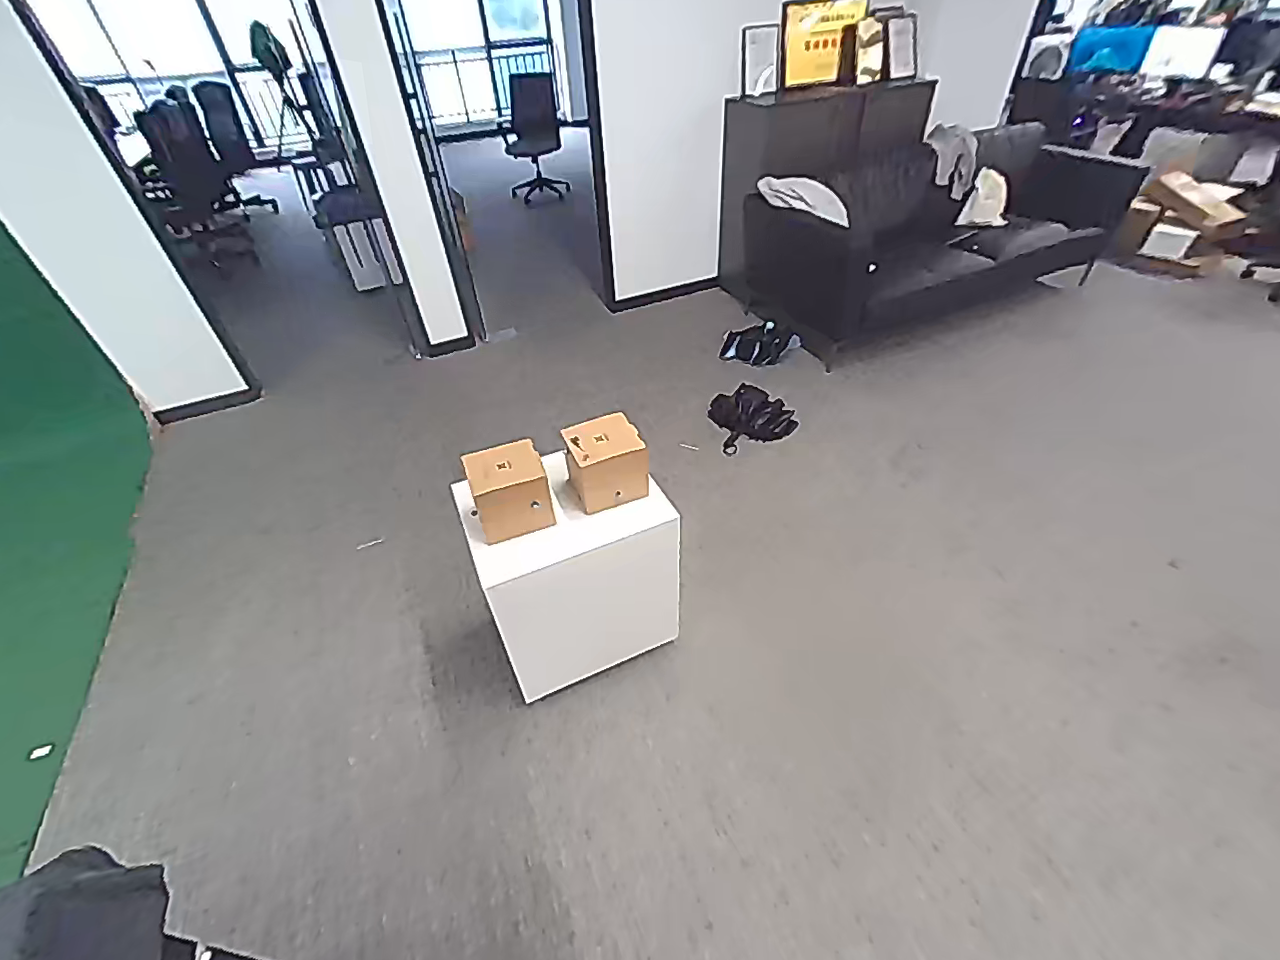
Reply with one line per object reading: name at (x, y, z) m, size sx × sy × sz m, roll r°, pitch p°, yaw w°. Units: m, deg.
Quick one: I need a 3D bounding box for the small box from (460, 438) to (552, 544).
small box at (-0.323, 0.028, 1.327) m, size 0.179 × 0.176 × 0.168 m, roll -18°, pitch 43°, yaw -16°

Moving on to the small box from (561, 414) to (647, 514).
small box at (-0.092, -0.041, 1.392) m, size 0.179 × 0.176 × 0.168 m, roll -17°, pitch 44°, yaw -16°
